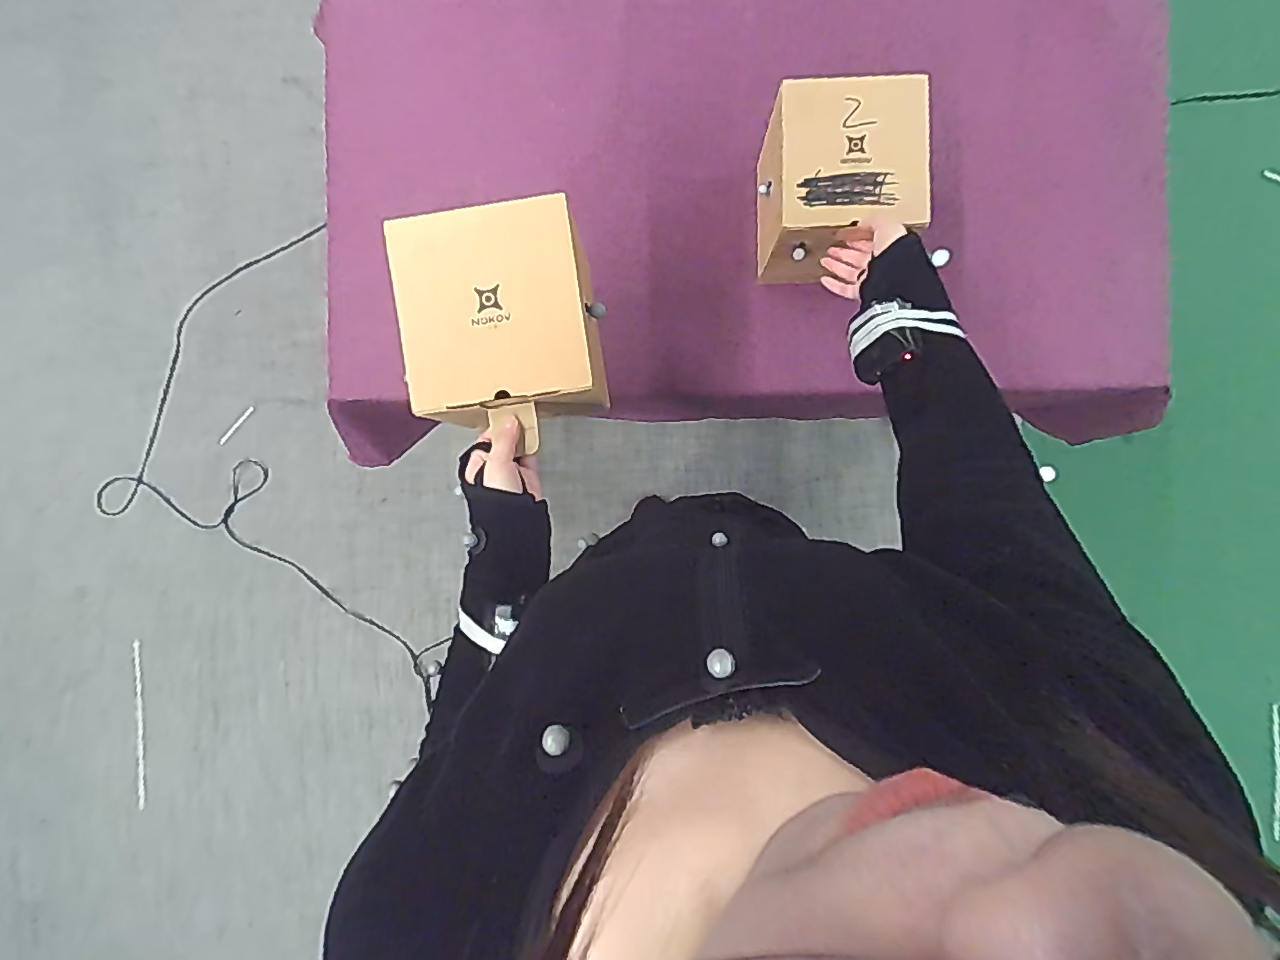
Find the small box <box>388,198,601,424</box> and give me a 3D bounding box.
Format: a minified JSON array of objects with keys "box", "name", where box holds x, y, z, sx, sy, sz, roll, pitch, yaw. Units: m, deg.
[{"box":[-0.138,-0.162,0.573,0.168,0.176,0.179,-8,91,1],"name":"small box"}]
